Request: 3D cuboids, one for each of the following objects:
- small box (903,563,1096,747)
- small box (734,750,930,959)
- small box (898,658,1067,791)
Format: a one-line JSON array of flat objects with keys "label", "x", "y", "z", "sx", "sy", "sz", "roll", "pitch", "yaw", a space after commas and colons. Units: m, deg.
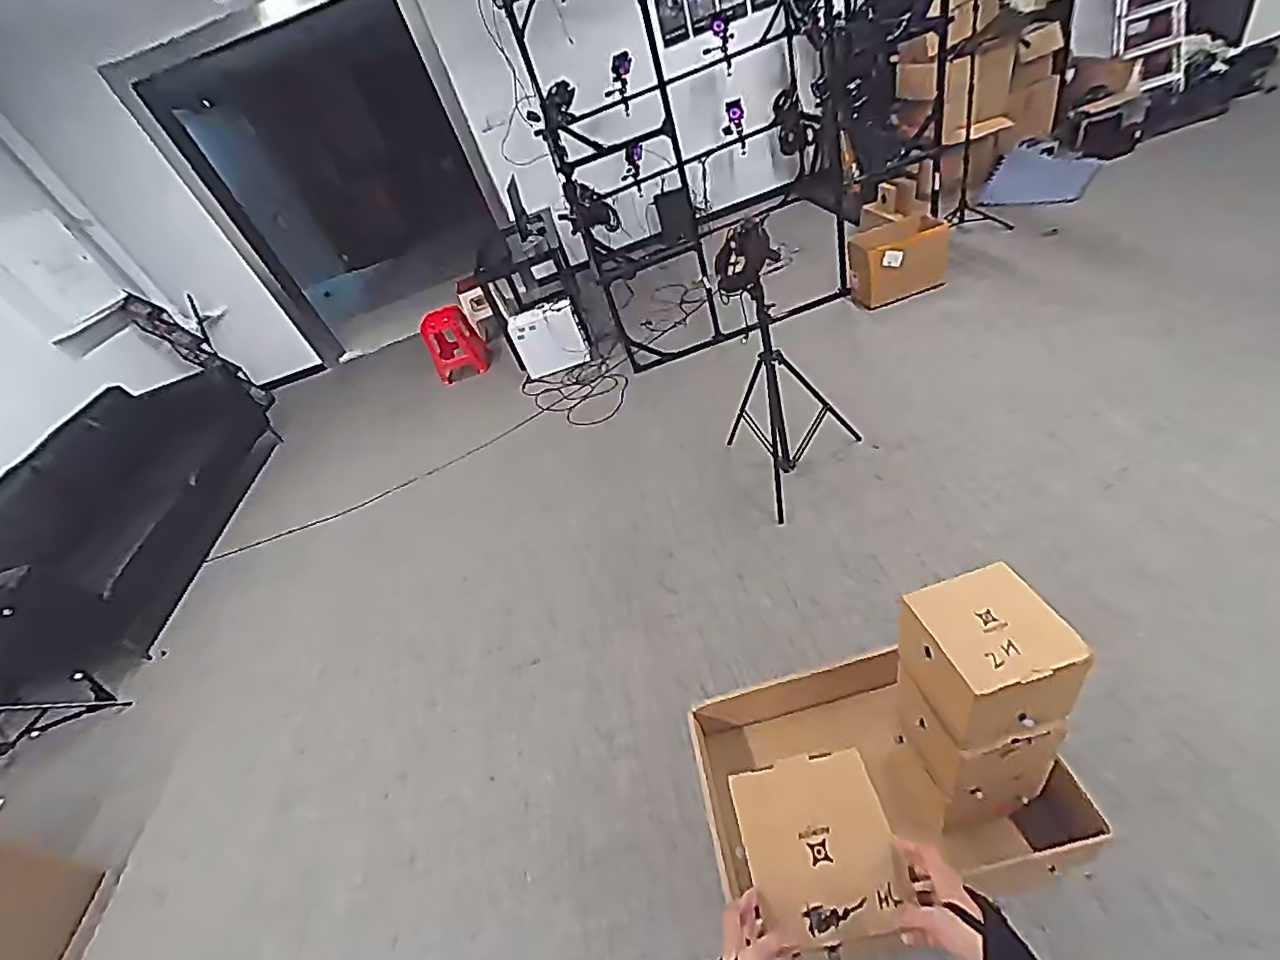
[{"label": "small box", "x": 0.515, "y": 0.261, "z": 0.810, "sx": 0.168, "sy": 0.176, "sz": 0.179, "roll": -20, "pitch": 39, "yaw": 2}, {"label": "small box", "x": 0.221, "y": 0.466, "z": 0.668, "sx": 0.168, "sy": 0.176, "sz": 0.179, "roll": -15, "pitch": 46, "yaw": 3}, {"label": "small box", "x": 0.555, "y": 0.392, "z": 0.903, "sx": 0.168, "sy": 0.176, "sz": 0.179, "roll": -19, "pitch": 38, "yaw": 2}]
